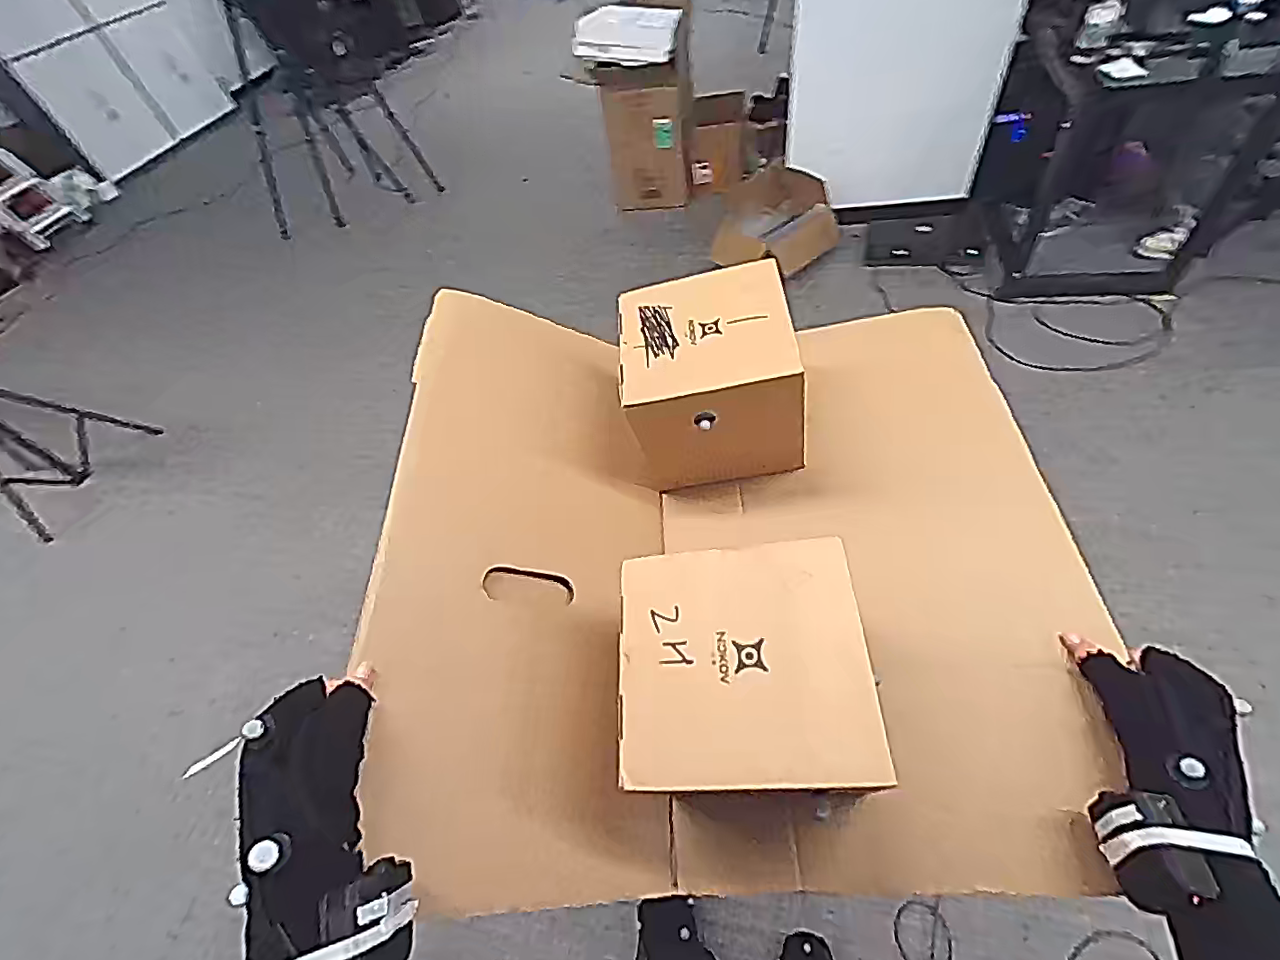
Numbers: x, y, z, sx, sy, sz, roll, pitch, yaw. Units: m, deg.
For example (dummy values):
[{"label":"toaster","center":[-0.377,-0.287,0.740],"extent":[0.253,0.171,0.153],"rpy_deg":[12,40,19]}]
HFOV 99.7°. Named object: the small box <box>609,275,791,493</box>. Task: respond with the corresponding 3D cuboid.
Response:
[{"label":"small box","center":[0.072,-0.100,0.627],"extent":[0.179,0.176,0.168],"rpy_deg":[-10,57,10]}]
